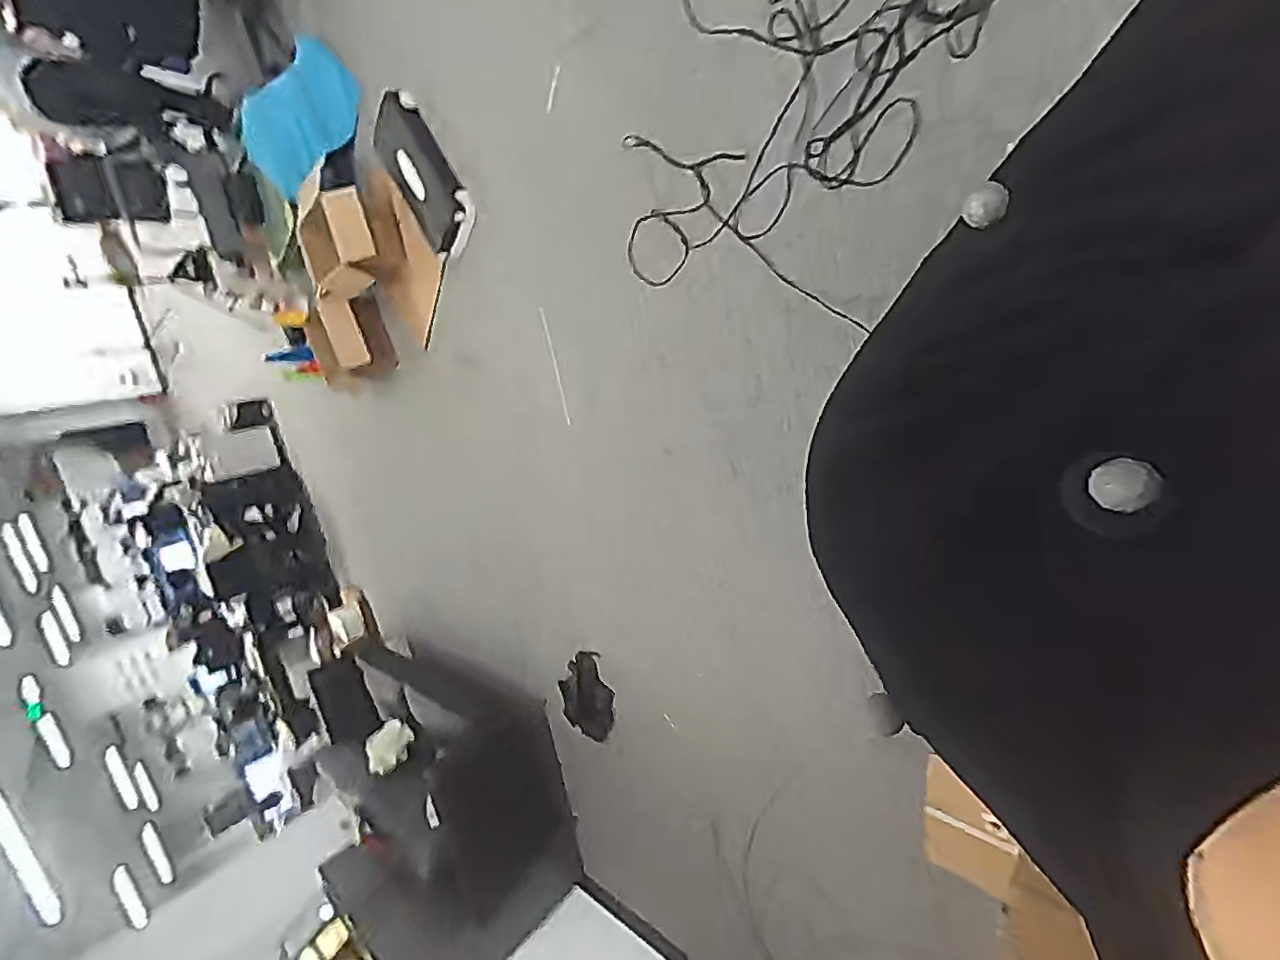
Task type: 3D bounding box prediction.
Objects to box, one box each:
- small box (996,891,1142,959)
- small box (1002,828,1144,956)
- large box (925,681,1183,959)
[{"bbox_3d":[0.681,0.827,0.870,0.179,0.176,0.168,12,116,42],"label":"small box"},{"bbox_3d":[0.788,0.785,0.987,0.179,0.176,0.168,9,114,42],"label":"small box"},{"bbox_3d":[0.903,0.719,1.201,0.408,0.320,0.320,10,113,43],"label":"large box"}]
